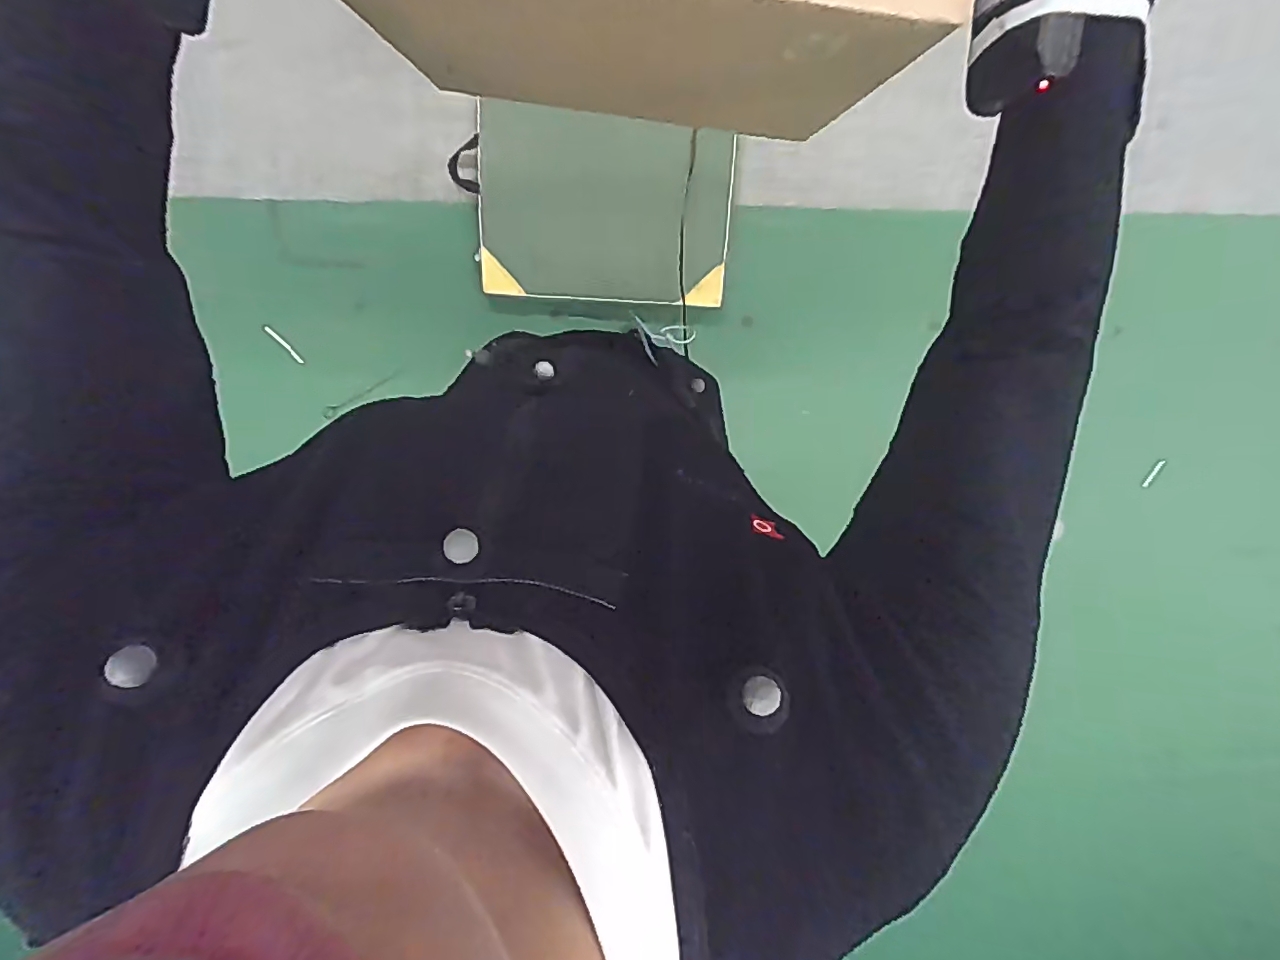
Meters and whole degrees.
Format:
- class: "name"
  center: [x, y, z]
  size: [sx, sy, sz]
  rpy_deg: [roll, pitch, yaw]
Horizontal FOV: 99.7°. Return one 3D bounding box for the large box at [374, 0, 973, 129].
- class: "large box"
  center: [0.011, -0.488, 0.391]
  size: [0.408, 0.320, 0.320]
  rpy_deg: [5, 112, -4]
